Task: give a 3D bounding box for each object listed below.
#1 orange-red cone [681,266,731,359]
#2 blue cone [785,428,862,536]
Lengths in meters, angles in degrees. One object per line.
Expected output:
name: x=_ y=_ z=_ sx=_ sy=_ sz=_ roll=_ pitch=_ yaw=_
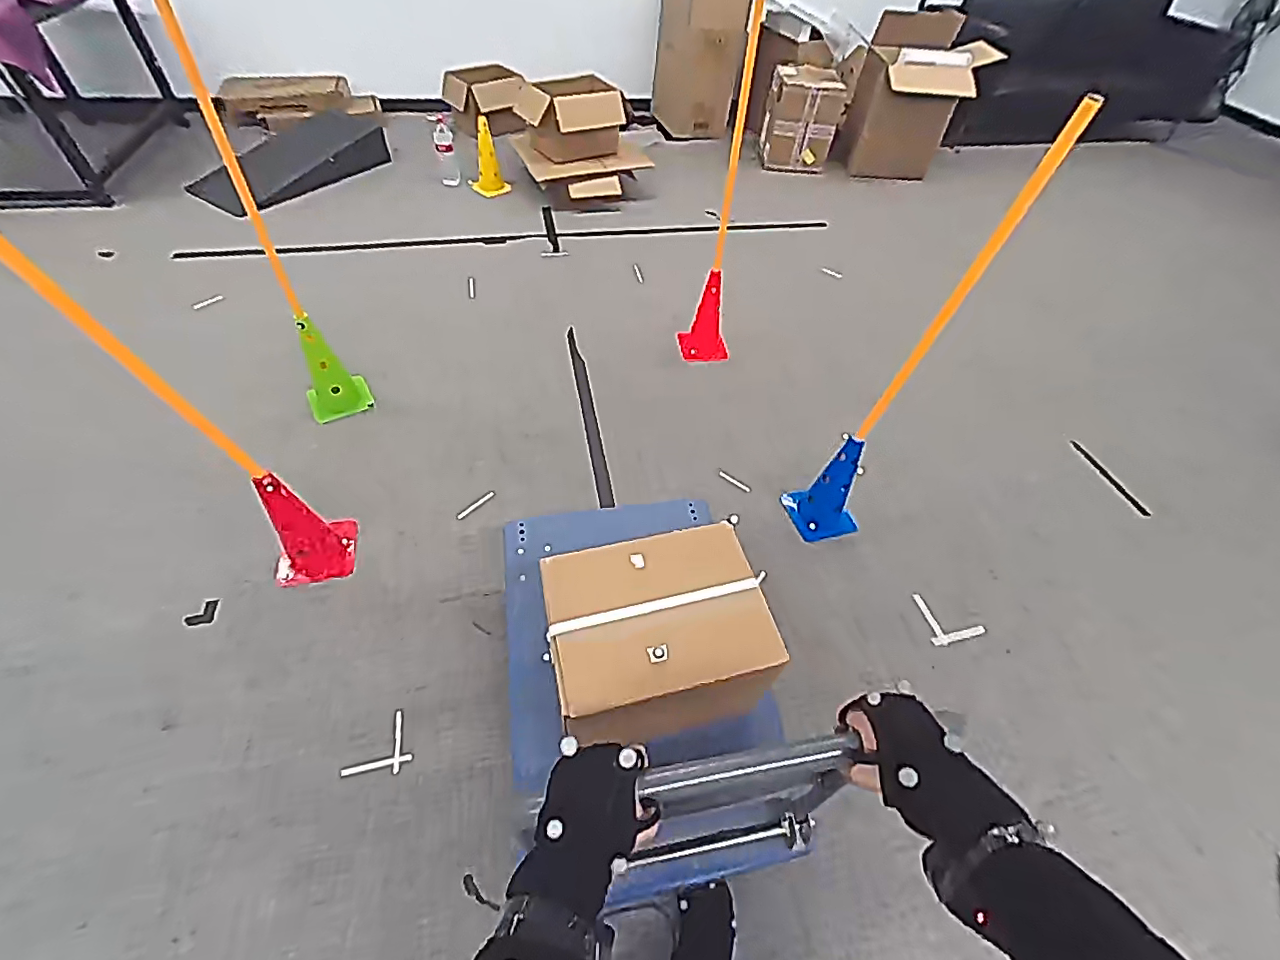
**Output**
orange-red cone: x=0.293 y=-0.690 z=2.180 sx=0.199 sy=0.360 sz=0.198 roll=-1 pitch=52 yaw=-7
blue cone: x=0.606 y=-0.007 z=1.665 sx=0.193 sy=0.380 sz=0.192 roll=-10 pitch=51 yaw=-13
